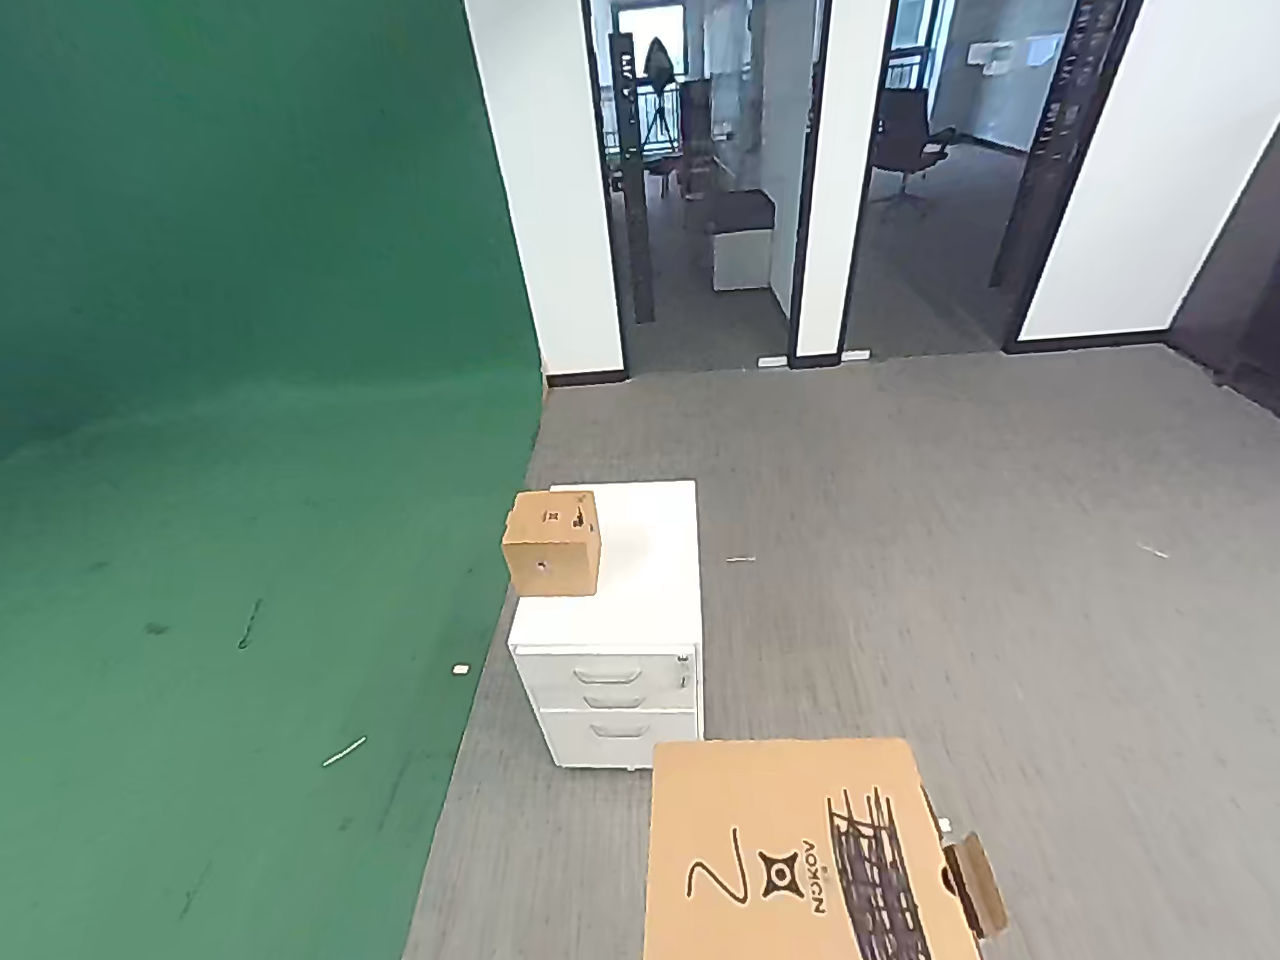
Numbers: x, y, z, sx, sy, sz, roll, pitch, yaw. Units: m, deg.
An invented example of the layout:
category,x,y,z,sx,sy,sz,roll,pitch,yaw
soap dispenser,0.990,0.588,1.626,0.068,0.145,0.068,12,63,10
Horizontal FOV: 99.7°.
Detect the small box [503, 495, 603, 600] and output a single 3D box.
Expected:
category,x,y,z,sx,sy,sz,roll,pitch,yaw
small box,-0.184,0.151,1.196,0.179,0.176,0.168,-2,38,4
